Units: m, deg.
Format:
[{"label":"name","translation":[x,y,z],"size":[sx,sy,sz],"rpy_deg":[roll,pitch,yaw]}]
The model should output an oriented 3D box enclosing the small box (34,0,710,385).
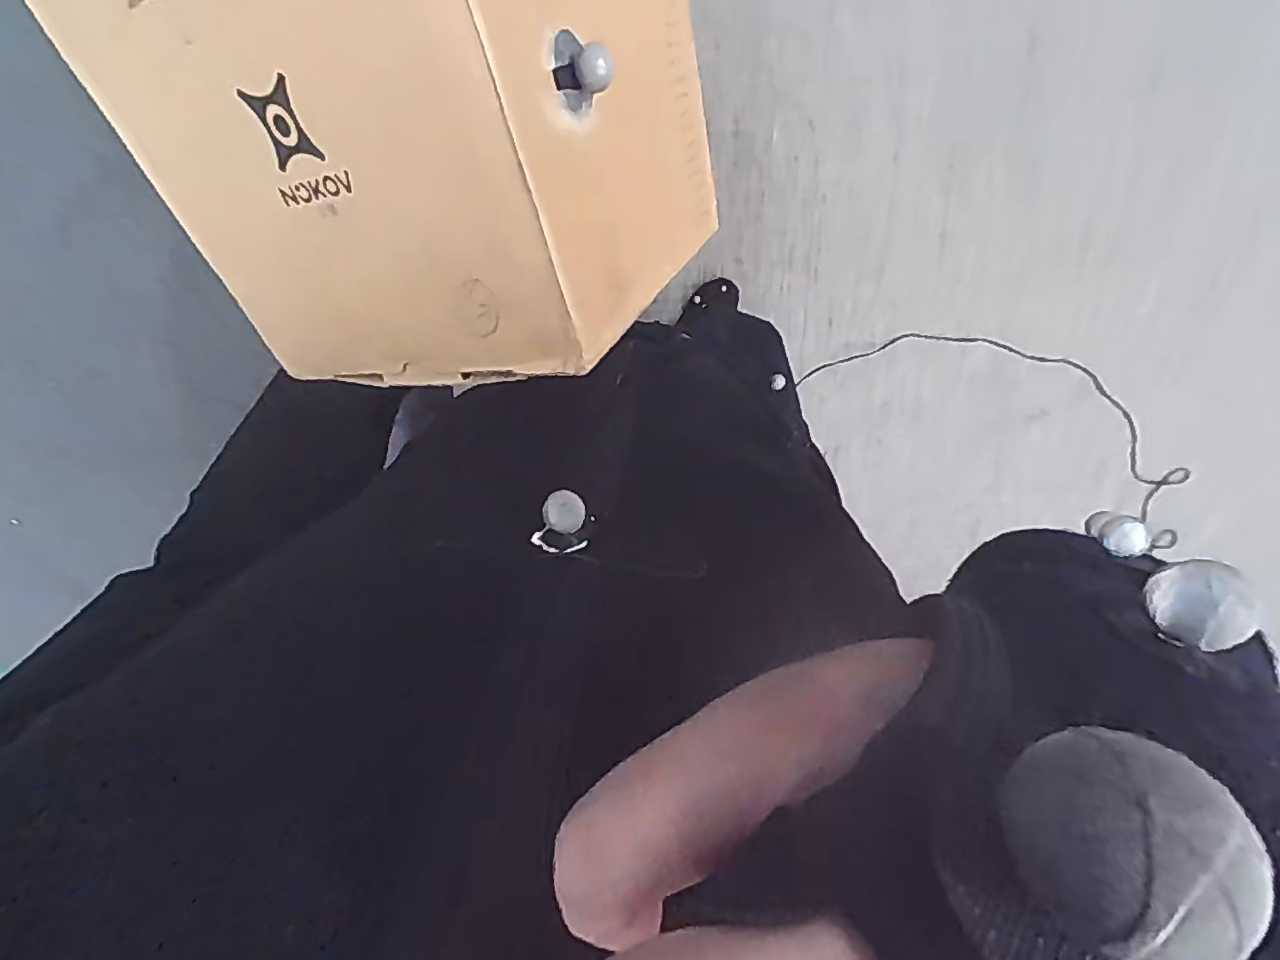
[{"label":"small box","translation":[-0.078,-0.157,0.227],"size":[0.168,0.176,0.179],"rpy_deg":[4,130,25]}]
